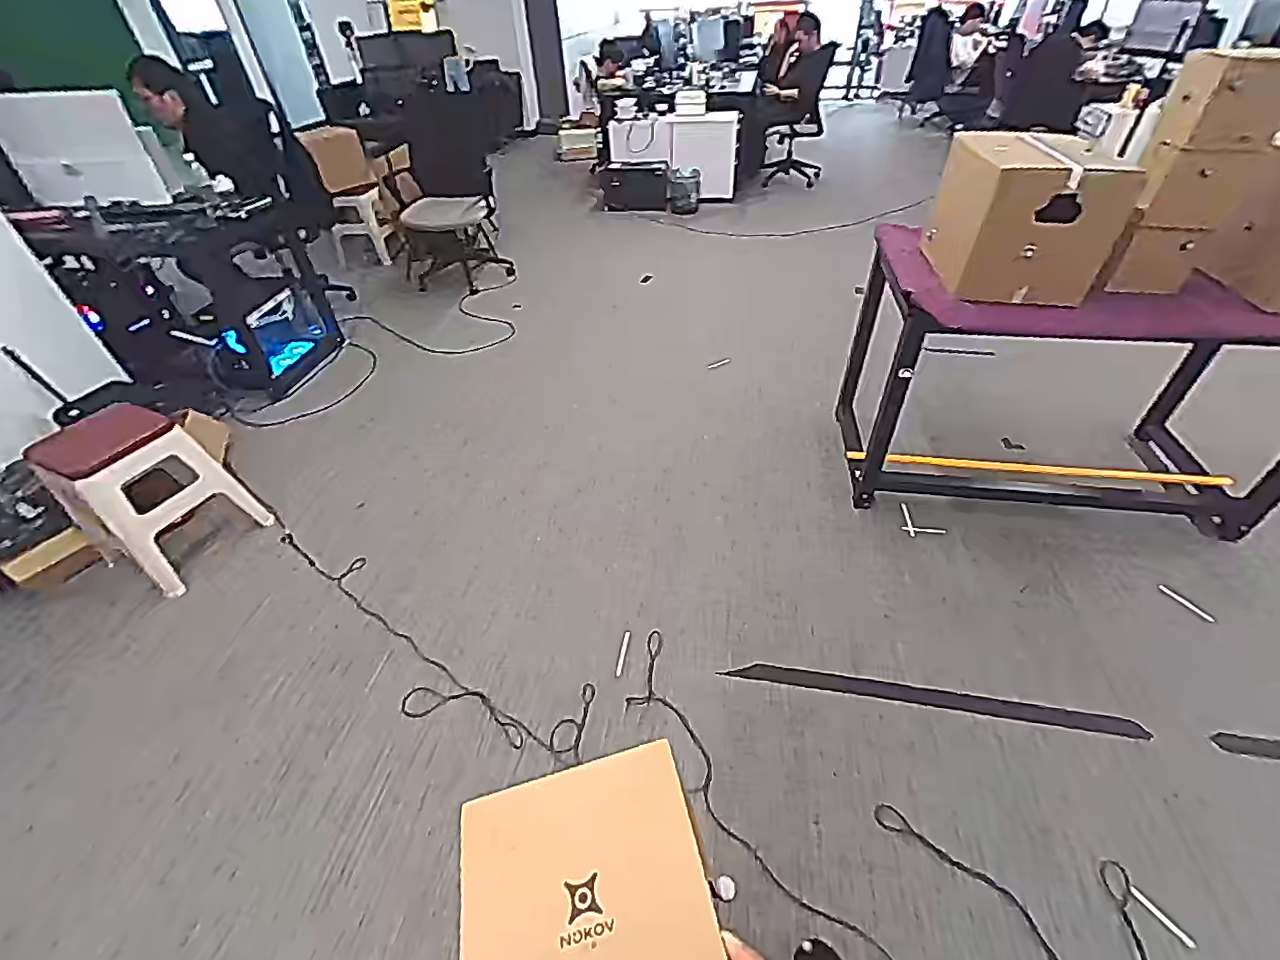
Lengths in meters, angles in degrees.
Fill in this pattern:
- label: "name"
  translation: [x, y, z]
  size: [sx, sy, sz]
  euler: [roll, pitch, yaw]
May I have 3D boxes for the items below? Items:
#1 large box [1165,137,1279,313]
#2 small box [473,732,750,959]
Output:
- label: "large box"
  translation: [1.670, -0.639, 1.346]
  size: [0.320, 0.320, 0.408]
  euler: [4, 41, 8]
- label: "small box"
  translation: [-0.015, 0.327, 0.401]
  size: [0.168, 0.176, 0.179]
  euler: [-16, 42, -4]
